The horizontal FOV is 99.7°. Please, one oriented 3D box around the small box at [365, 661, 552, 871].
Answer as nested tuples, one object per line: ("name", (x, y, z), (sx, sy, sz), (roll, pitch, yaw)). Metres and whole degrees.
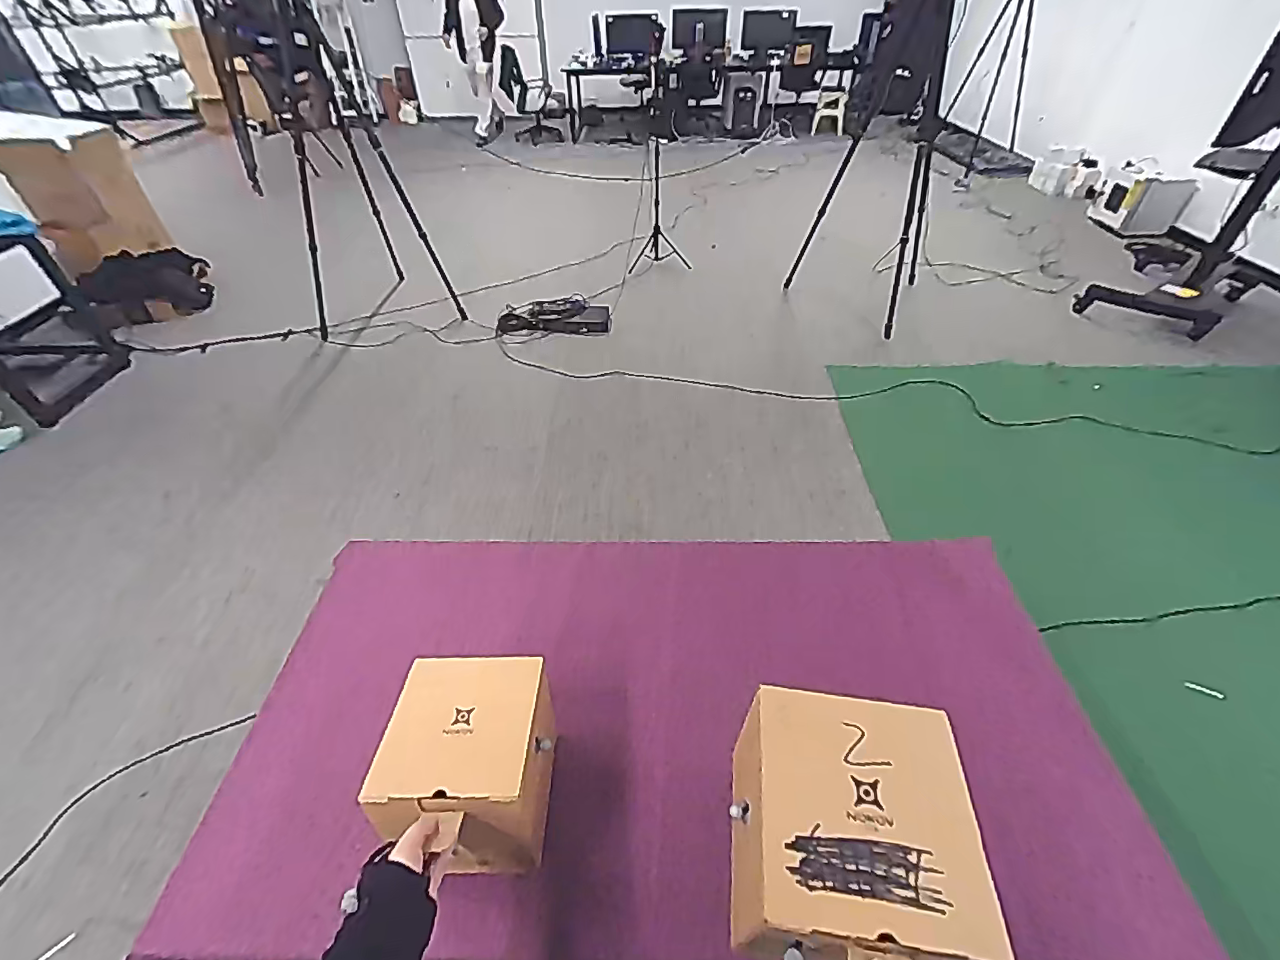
("small box", (-0.206, 0.350, 0.674), (0.168, 0.176, 0.179), (0, 34, 0))
